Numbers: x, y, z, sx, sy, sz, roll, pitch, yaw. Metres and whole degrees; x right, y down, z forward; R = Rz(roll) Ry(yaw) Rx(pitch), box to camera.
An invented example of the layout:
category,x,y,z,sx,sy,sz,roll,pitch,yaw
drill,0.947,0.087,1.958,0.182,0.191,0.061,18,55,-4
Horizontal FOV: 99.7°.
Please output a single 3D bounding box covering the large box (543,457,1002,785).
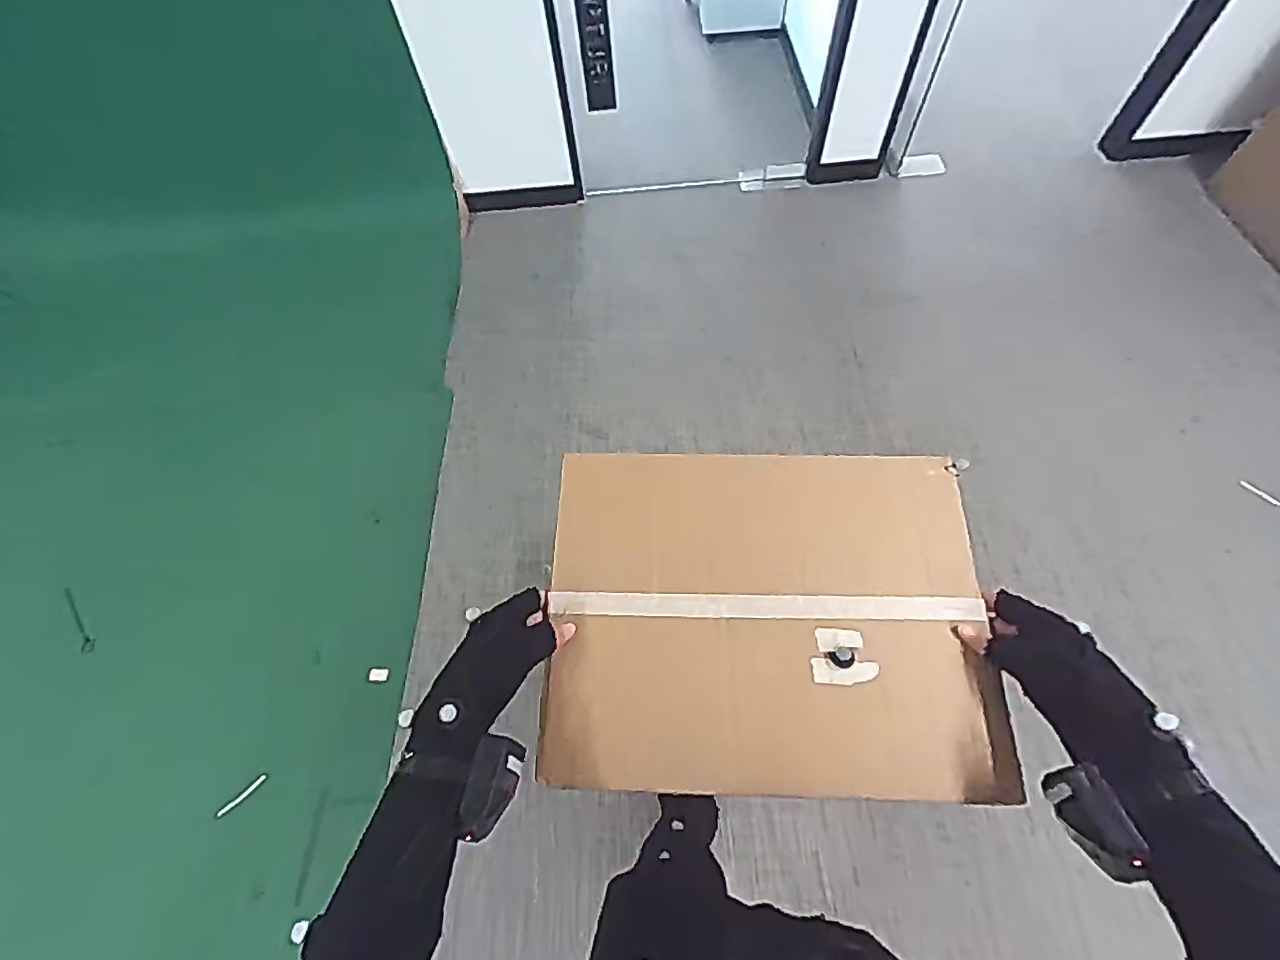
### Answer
category,x,y,z,sx,sy,sz,roll,pitch,yaw
large box,0.115,0.176,0.658,0.408,0.320,0.320,1,67,2
